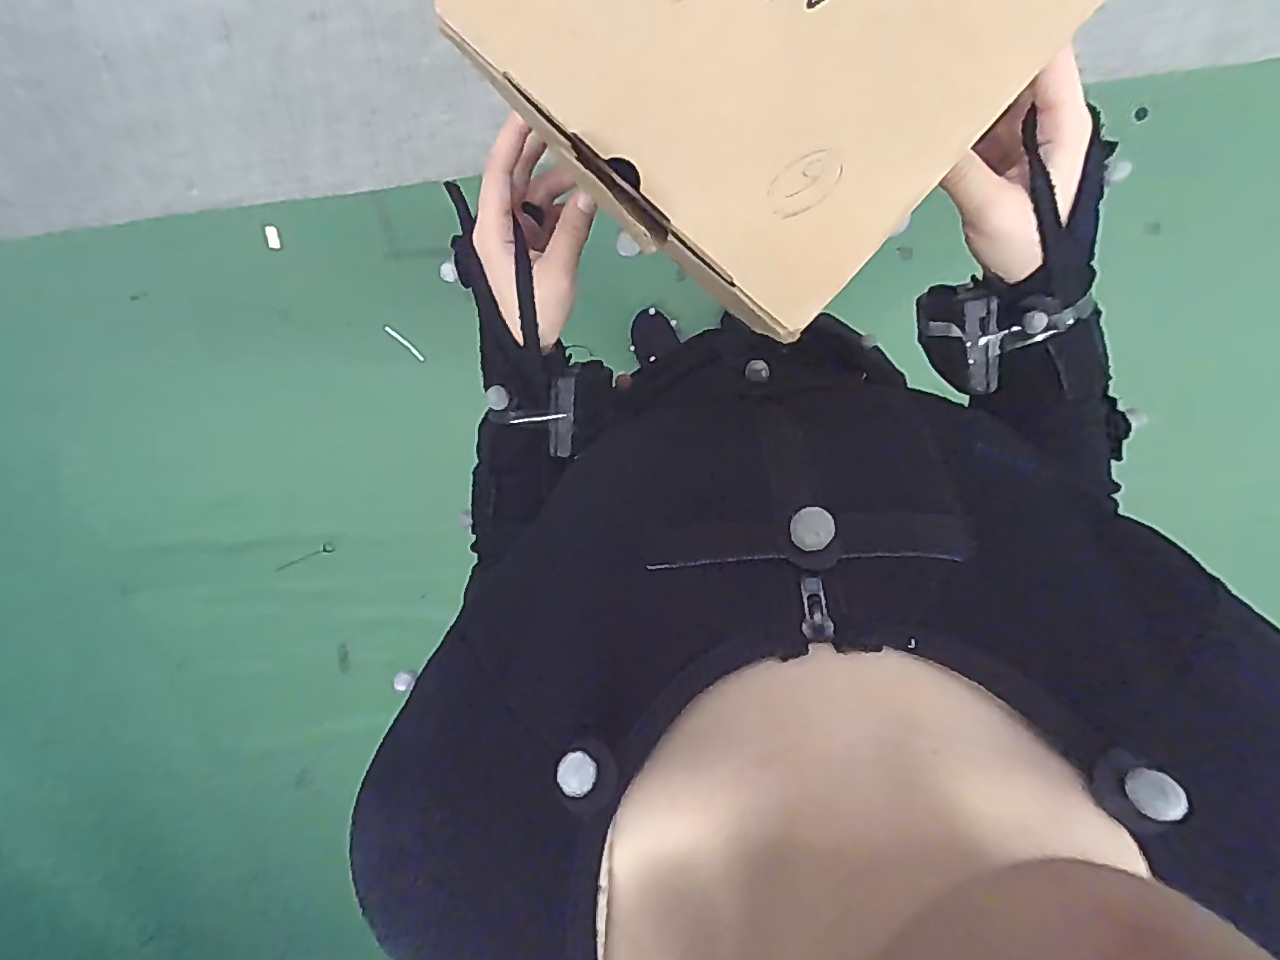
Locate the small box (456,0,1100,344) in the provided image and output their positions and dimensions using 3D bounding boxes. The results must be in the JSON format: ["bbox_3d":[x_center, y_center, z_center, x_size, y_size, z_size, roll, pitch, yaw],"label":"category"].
[{"bbox_3d":[0.057,-0.187,0.254,0.168,0.176,0.179,40,107,-6],"label":"small box"}]
